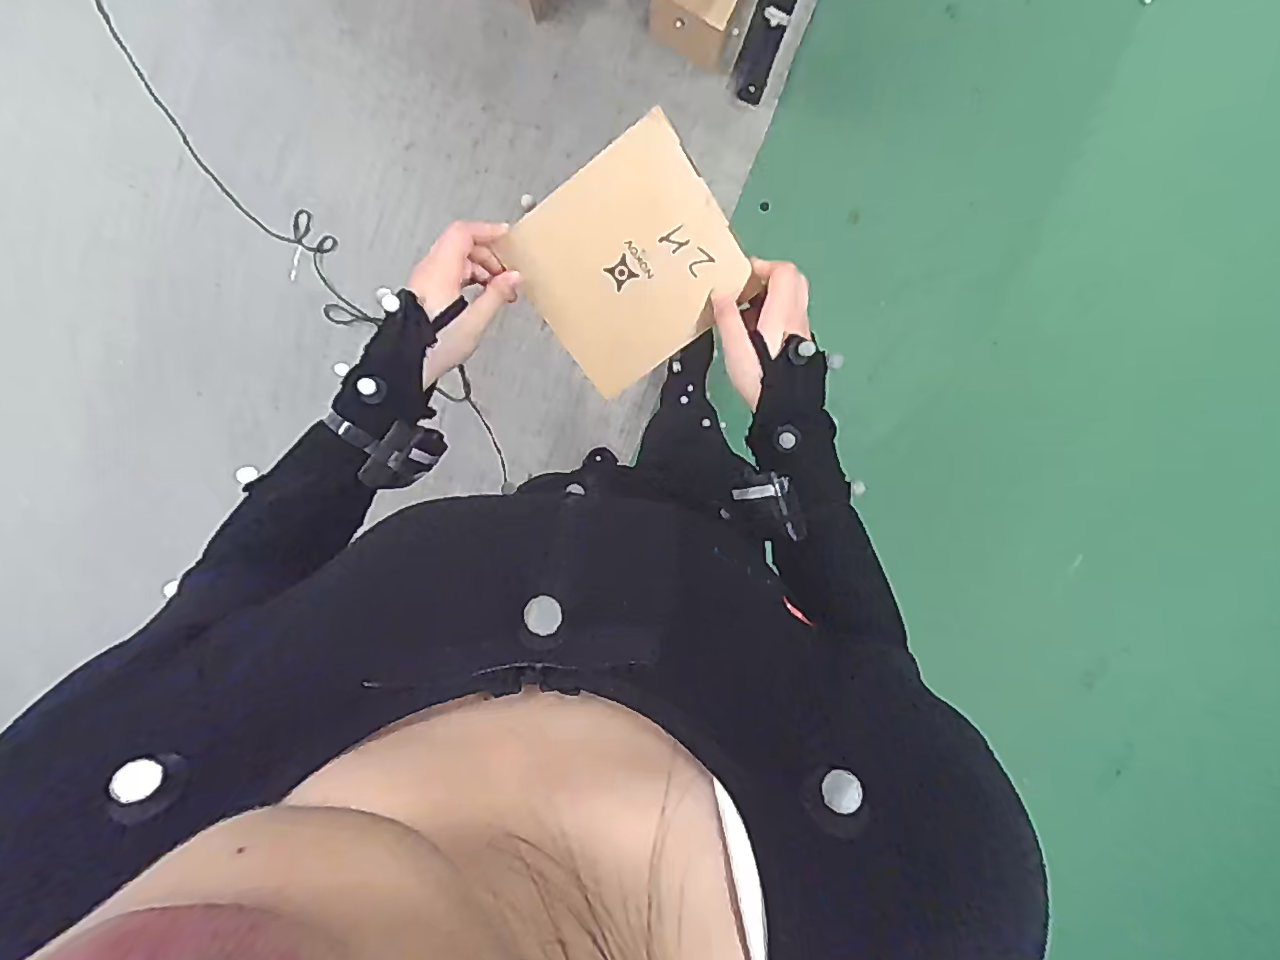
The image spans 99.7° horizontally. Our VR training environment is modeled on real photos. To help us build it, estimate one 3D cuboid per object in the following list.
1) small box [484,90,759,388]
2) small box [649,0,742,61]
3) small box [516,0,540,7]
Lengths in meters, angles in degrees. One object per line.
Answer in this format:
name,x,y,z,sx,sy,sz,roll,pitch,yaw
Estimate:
small box,-0.015,-0.220,0.521,0.179,0.176,0.168,-34,112,12
small box,0.127,-1.073,1.180,0.179,0.176,0.168,26,100,-5
small box,-0.263,-1.185,1.165,0.179,0.176,0.168,41,98,-5
